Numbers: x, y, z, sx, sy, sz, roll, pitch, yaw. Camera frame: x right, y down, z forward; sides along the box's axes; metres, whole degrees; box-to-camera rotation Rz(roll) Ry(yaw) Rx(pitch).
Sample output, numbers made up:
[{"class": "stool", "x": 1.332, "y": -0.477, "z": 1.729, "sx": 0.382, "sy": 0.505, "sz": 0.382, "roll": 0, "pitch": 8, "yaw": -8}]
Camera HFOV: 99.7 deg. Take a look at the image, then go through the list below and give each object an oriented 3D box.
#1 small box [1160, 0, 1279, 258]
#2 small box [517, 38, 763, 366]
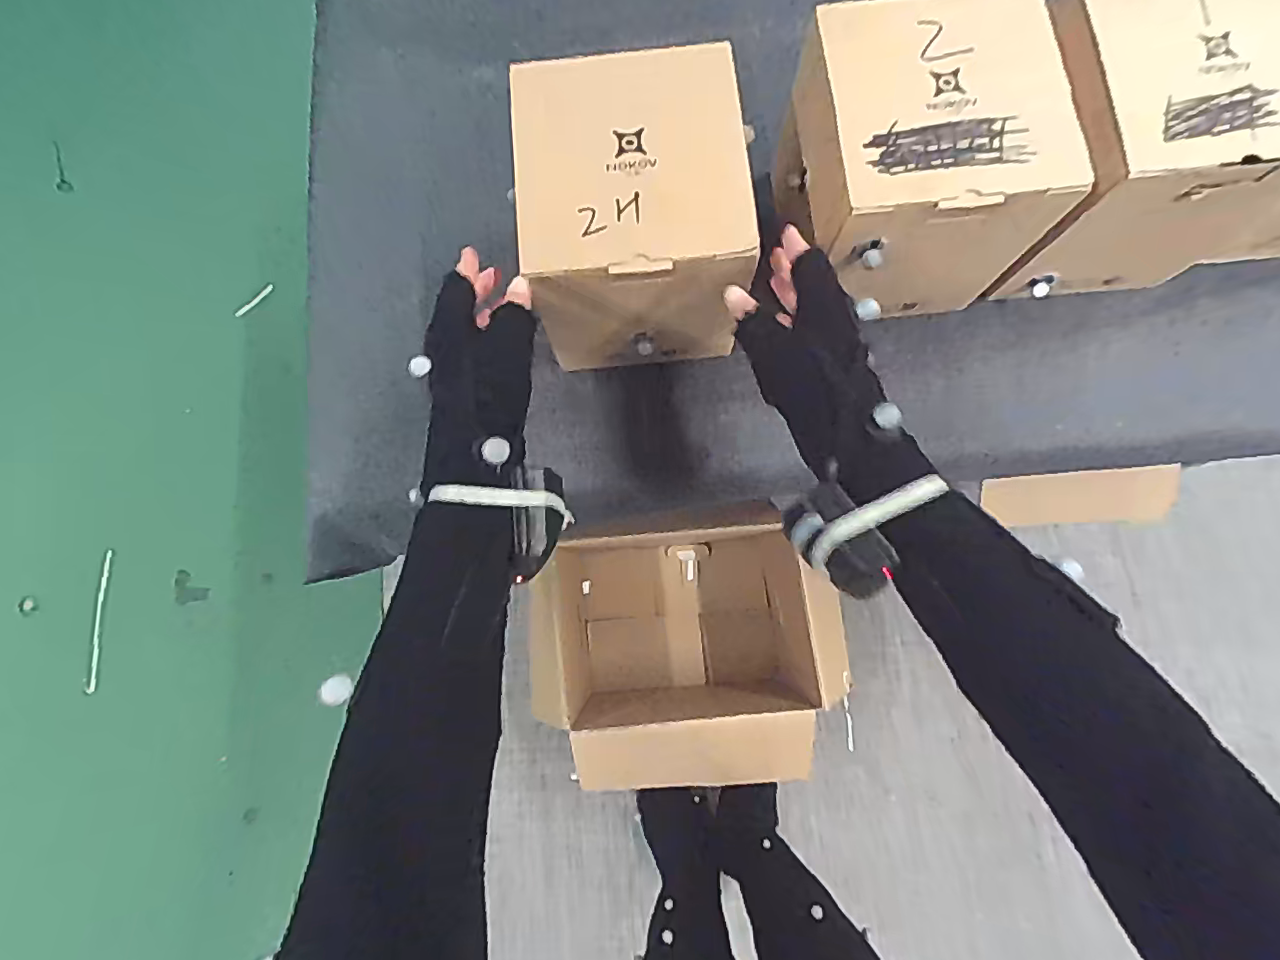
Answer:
[{"class": "small box", "x": 0.600, "y": -0.316, "z": 0.454, "sx": 0.168, "sy": 0.176, "sz": 0.179, "roll": -4, "pitch": 80, "yaw": 2}, {"class": "small box", "x": -0.002, "y": -0.215, "z": 0.456, "sx": 0.168, "sy": 0.176, "sz": 0.179, "roll": -5, "pitch": 79, "yaw": 2}]
